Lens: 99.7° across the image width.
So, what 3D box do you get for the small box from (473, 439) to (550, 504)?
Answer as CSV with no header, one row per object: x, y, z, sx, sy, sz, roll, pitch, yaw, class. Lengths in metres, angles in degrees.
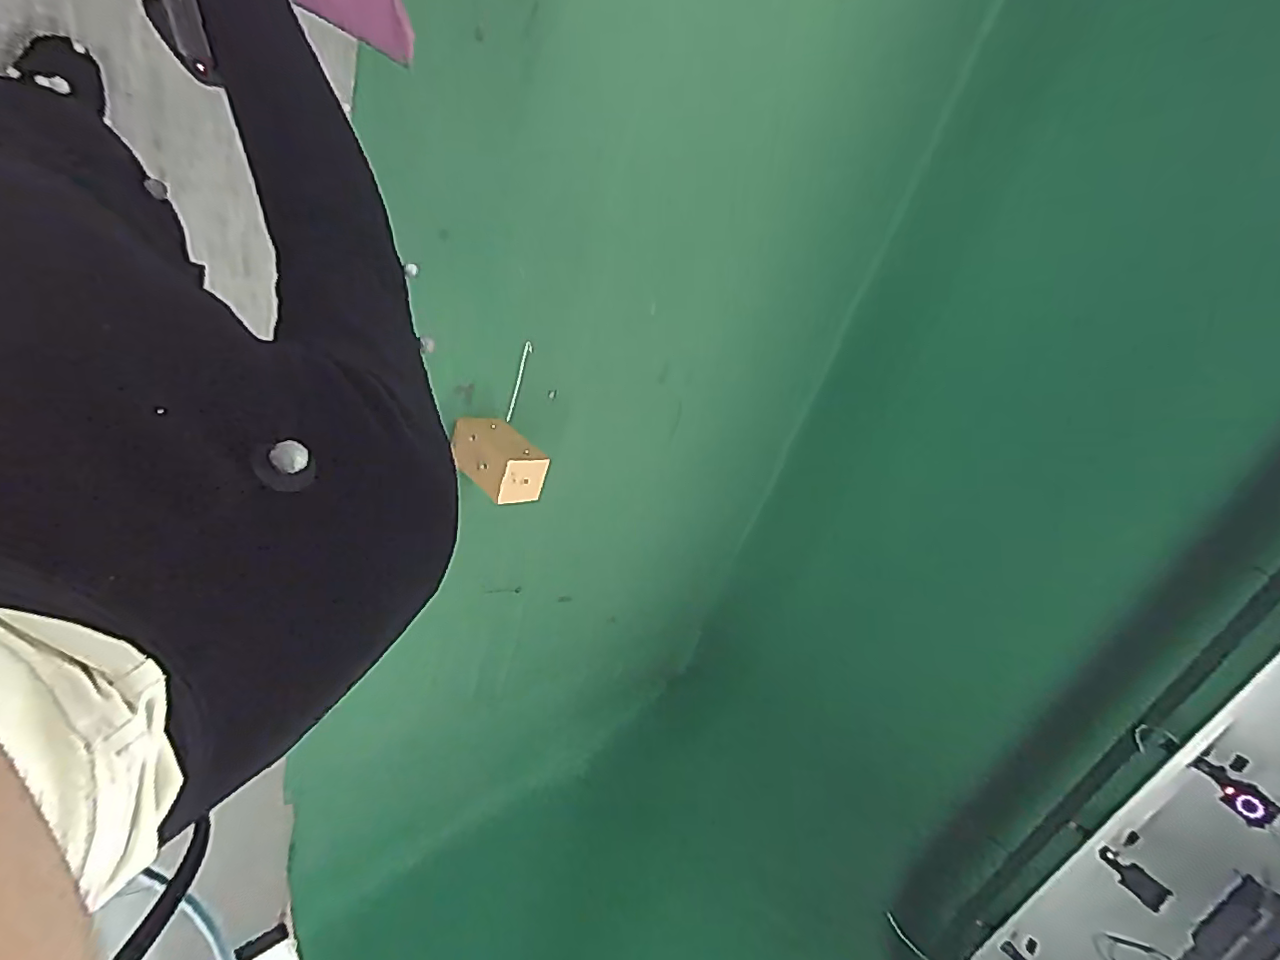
-0.449,-0.035,1.879,0.179,0.176,0.168,-4,122,-49,small box
